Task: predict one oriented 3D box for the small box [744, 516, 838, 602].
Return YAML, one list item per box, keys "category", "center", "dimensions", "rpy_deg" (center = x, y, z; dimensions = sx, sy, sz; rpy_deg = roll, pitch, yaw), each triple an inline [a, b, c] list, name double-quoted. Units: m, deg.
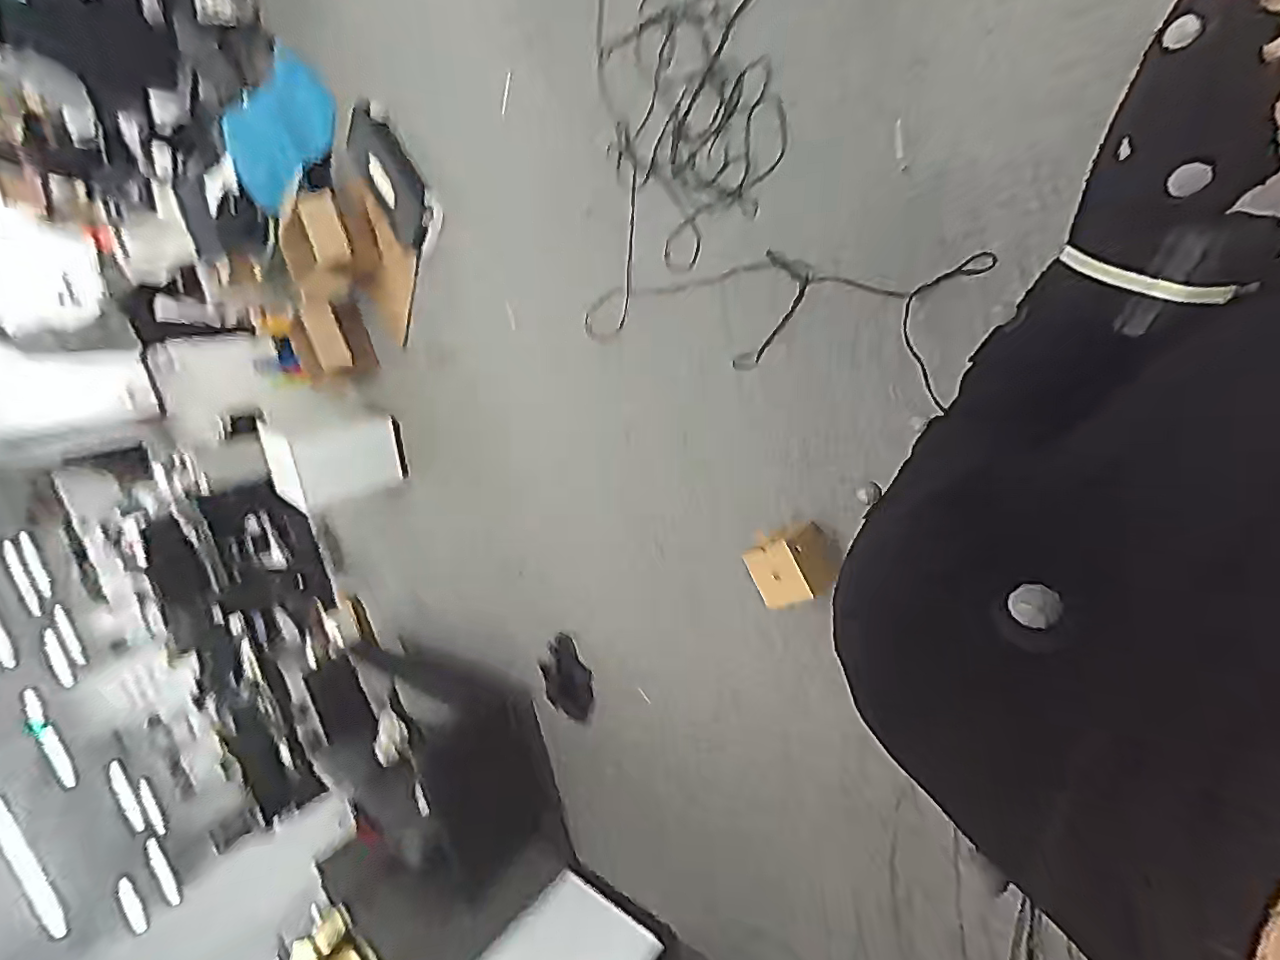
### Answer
- category: "small box"
  center: [0.442, 0.229, 1.568]
  dimensions: [0.168, 0.176, 0.179]
  rpy_deg: [-30, 85, 47]
